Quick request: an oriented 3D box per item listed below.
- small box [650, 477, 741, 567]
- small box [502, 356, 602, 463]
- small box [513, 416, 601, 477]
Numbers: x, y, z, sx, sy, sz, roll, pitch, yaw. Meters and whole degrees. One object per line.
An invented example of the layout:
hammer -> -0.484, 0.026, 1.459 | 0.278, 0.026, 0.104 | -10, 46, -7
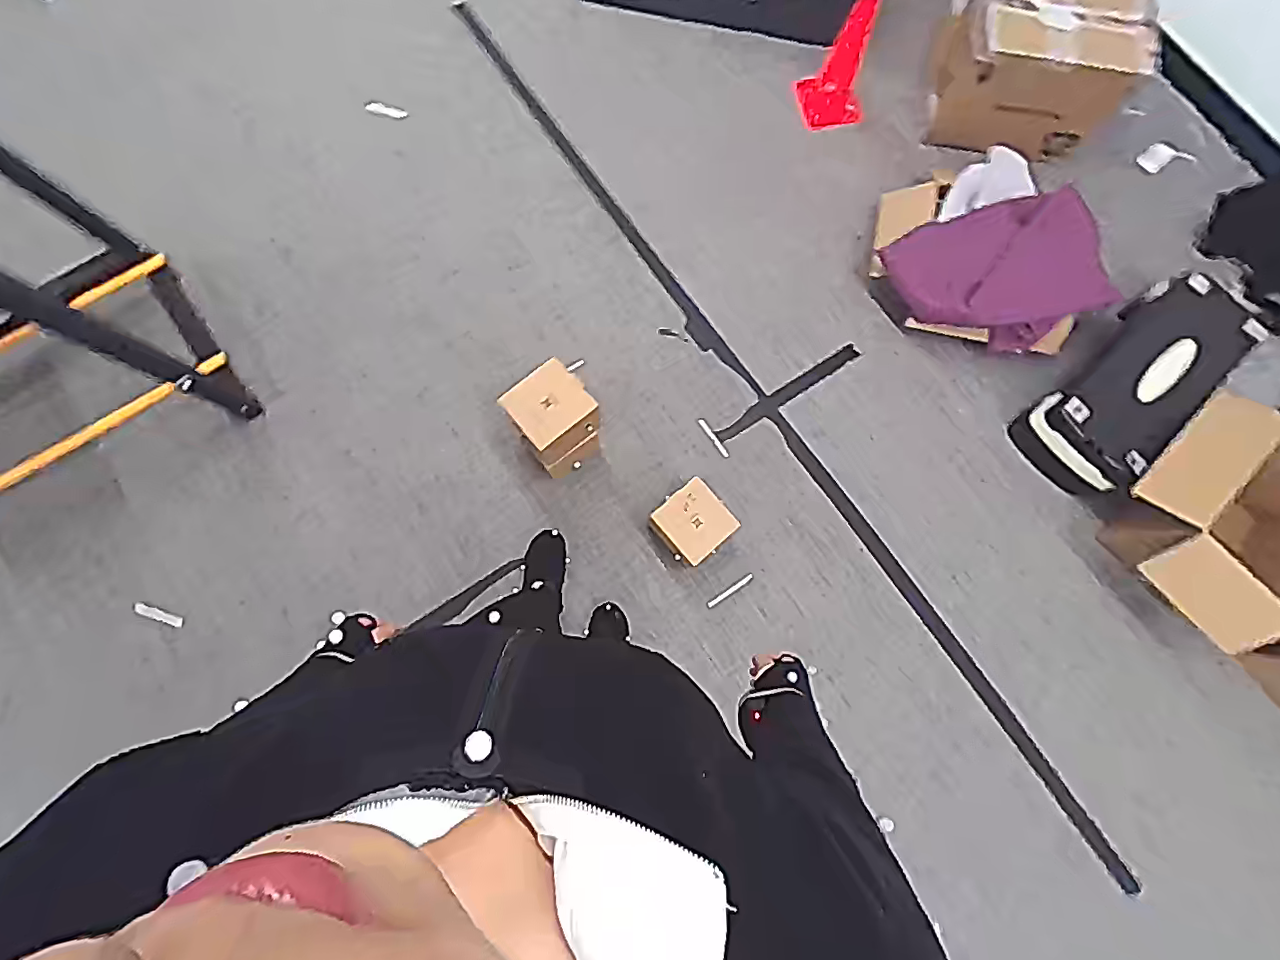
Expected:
small box -> 0.142, 0.117, 1.466 | 0.168, 0.176, 0.179 | -40, 83, -8
small box -> -0.209, -0.167, 1.340 | 0.179, 0.176, 0.168 | -40, 82, -7
small box -> -0.223, -0.130, 1.498 | 0.168, 0.176, 0.179 | -36, 83, -8
